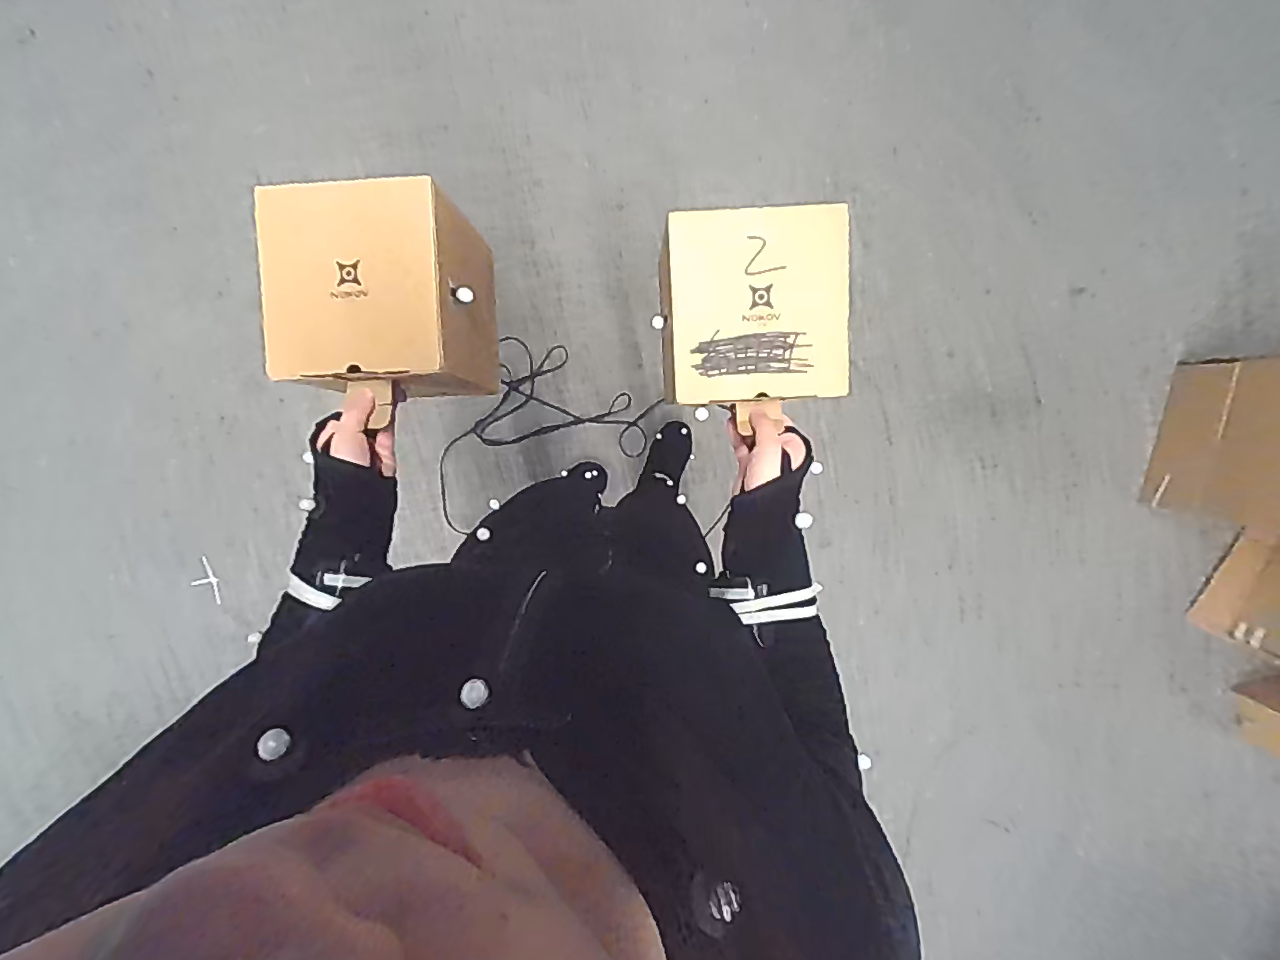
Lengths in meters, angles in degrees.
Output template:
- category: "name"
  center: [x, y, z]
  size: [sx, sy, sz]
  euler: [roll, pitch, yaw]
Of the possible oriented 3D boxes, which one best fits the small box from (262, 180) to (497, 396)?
- category: "small box"
  center: [-0.260, -0.188, 0.577]
  size: [0.168, 0.176, 0.179]
  euler: [-2, 94, 3]
